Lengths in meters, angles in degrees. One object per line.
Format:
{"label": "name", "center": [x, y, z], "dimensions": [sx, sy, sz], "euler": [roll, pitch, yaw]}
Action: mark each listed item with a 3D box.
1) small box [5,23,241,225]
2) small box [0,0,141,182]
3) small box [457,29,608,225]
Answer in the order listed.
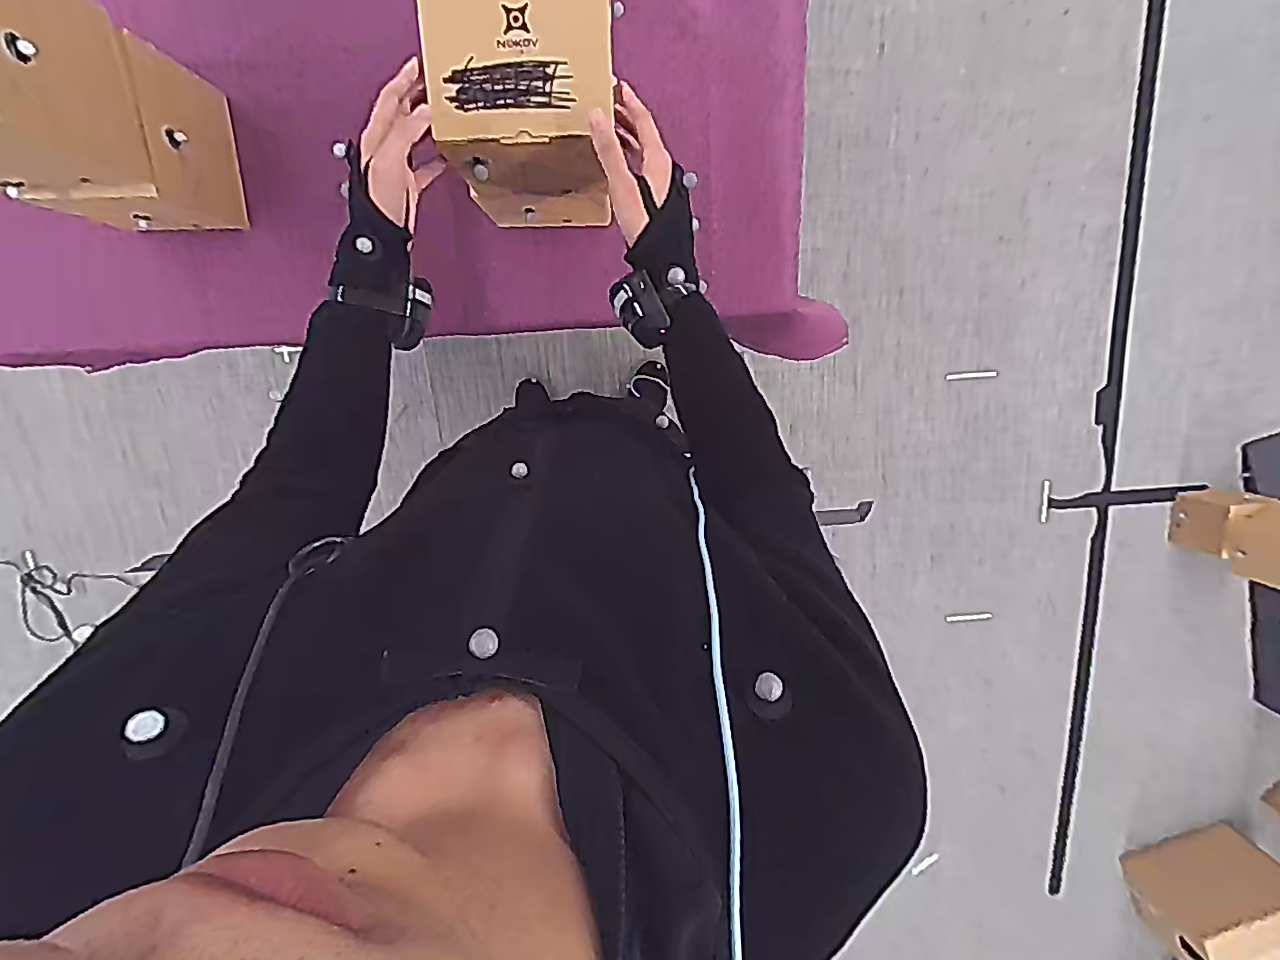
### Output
{"label": "small box", "center": [-0.647, -0.429, 0.681], "dimensions": [0.168, 0.176, 0.179], "euler": [-2, 103, -3]}
{"label": "small box", "center": [-0.643, -0.403, 0.518], "dimensions": [0.168, 0.176, 0.179], "euler": [-6, 103, -2]}
{"label": "small box", "center": [-0.127, -0.442, 0.707], "dimensions": [0.168, 0.176, 0.179], "euler": [-2, 102, -2]}
